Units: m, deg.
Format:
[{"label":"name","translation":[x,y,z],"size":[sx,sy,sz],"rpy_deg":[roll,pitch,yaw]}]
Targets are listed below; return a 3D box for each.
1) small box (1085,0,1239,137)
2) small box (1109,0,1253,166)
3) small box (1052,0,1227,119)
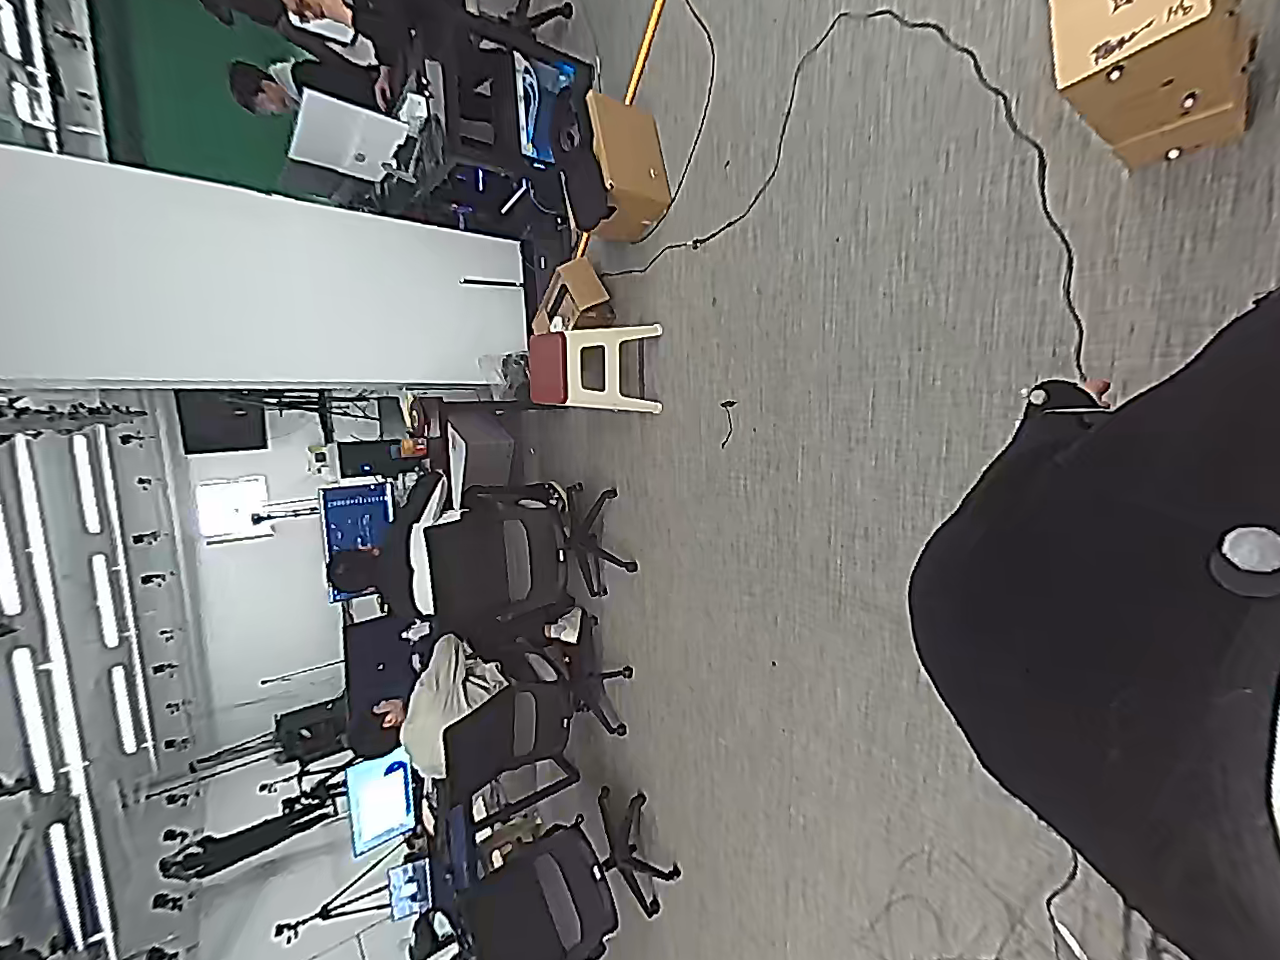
[{"label":"small box","translation":[0.868,-0.707,0.901],"size":[0.168,0.176,0.179],"rpy_deg":[-1,94,52]},{"label":"small box","translation":[0.998,-0.717,0.998],"size":[0.168,0.176,0.179],"rpy_deg":[5,100,53]},{"label":"small box","translation":[0.738,-0.687,0.802],"size":[0.168,0.176,0.179],"rpy_deg":[-4,92,53]}]
